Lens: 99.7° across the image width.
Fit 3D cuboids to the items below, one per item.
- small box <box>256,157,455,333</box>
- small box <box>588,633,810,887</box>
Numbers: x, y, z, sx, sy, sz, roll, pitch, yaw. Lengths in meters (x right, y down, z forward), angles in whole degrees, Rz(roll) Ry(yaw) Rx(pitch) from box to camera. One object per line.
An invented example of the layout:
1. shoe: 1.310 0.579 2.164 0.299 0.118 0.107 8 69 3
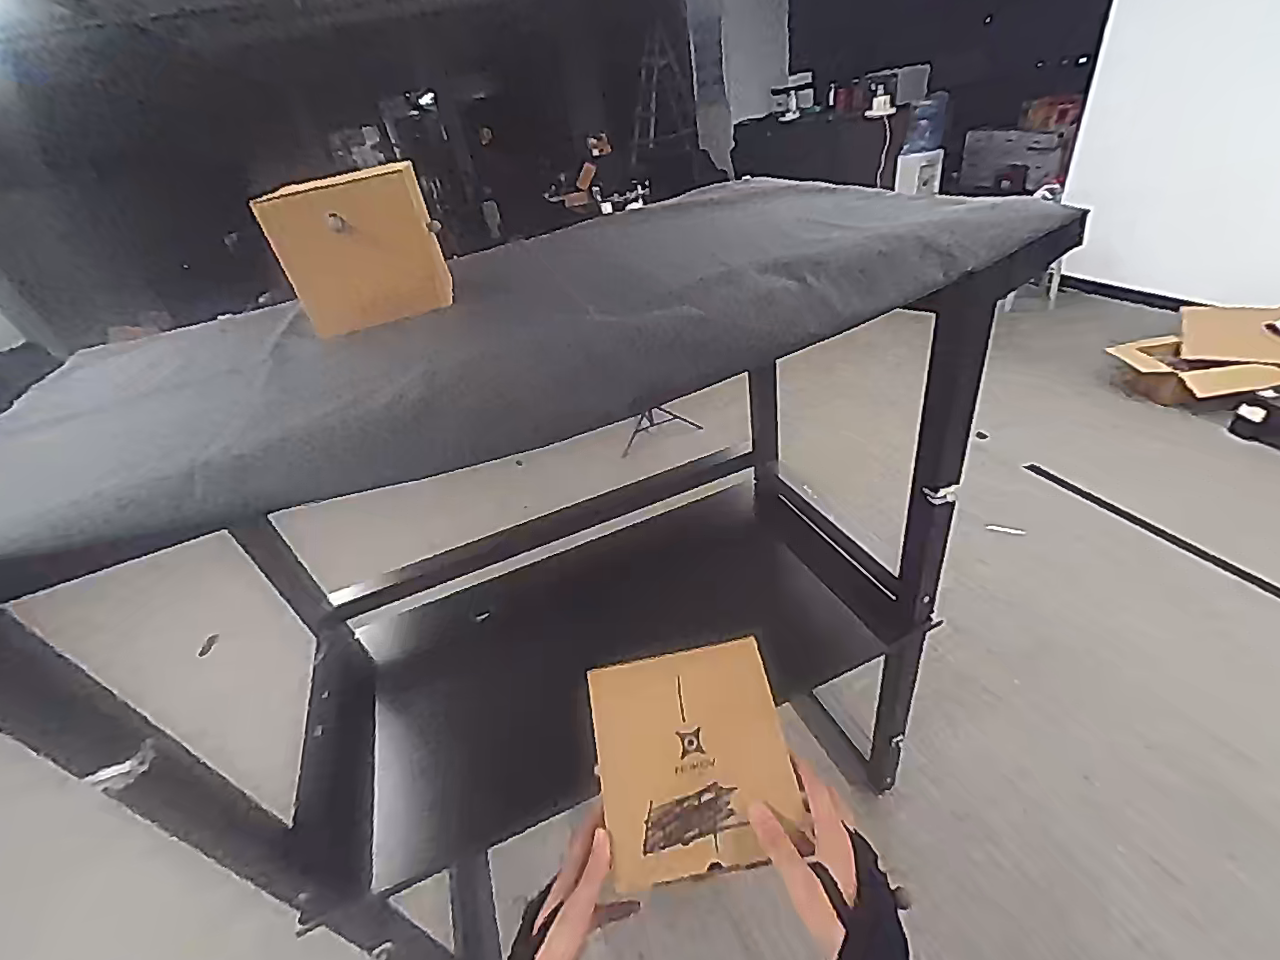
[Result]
1. small box: -0.361 -0.319 0.731 0.179 0.176 0.168 -17 36 -7
2. small box: 0.051 0.270 0.535 0.168 0.176 0.179 -11 59 -1
